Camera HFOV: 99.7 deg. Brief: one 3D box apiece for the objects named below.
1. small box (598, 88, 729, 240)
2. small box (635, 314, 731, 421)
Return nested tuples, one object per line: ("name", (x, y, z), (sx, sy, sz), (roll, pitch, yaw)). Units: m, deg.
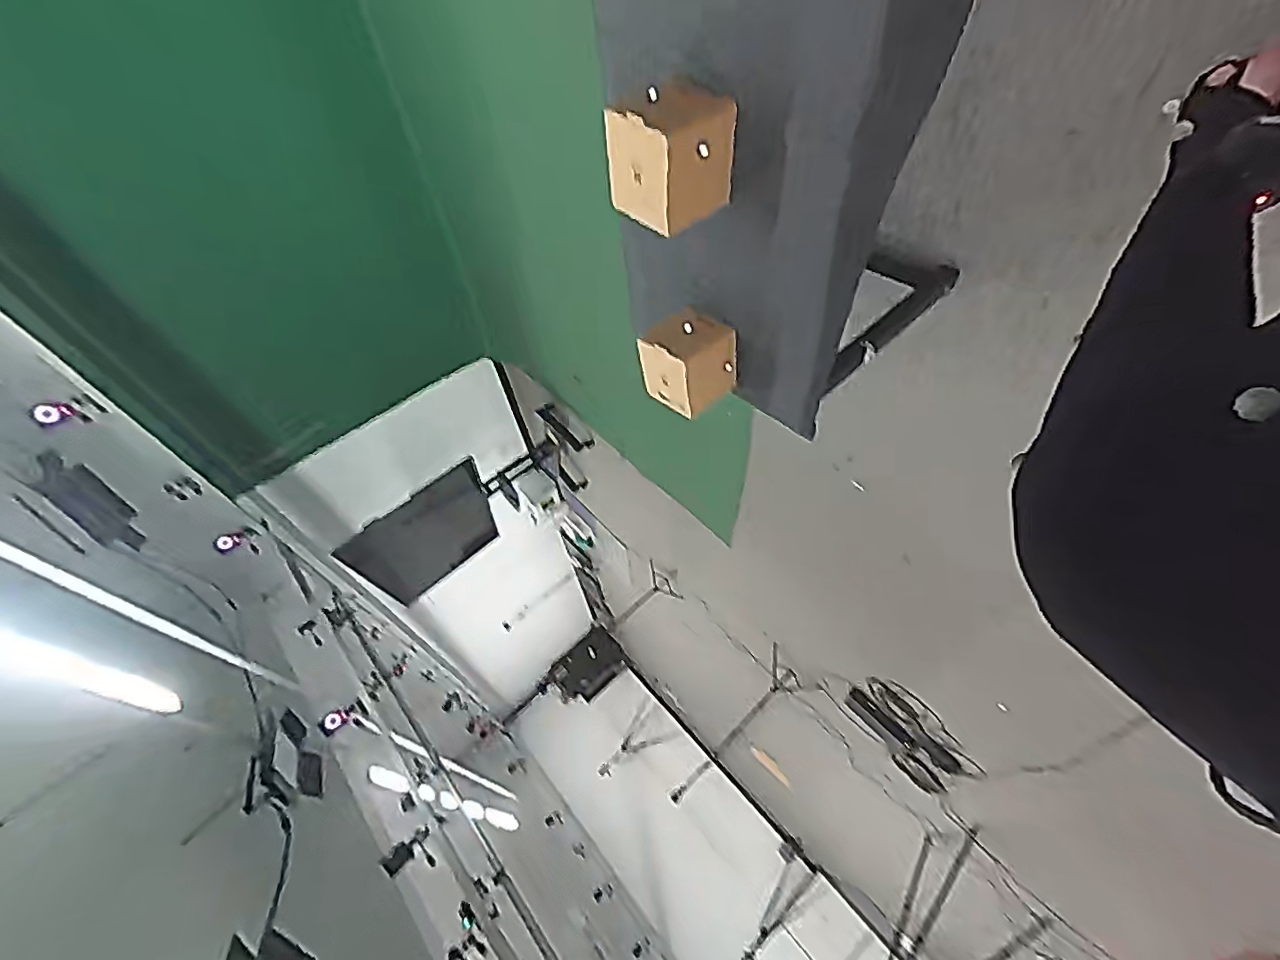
("small box", (0.047, -0.588, 1.000), (0.168, 0.176, 0.179), (42, 158, 28))
("small box", (0.111, -0.285, 1.343), (0.168, 0.176, 0.179), (37, 153, 35))
